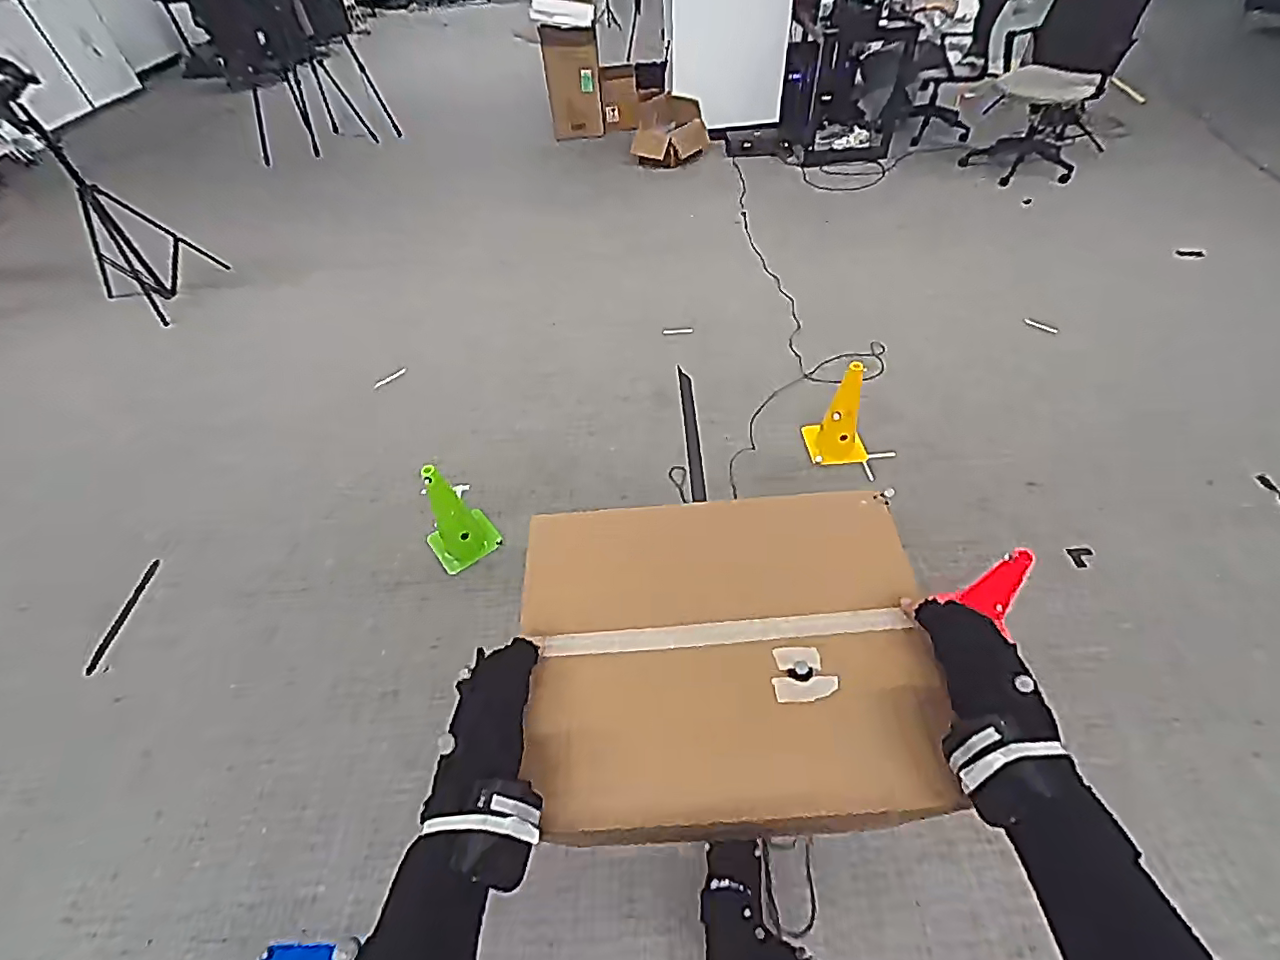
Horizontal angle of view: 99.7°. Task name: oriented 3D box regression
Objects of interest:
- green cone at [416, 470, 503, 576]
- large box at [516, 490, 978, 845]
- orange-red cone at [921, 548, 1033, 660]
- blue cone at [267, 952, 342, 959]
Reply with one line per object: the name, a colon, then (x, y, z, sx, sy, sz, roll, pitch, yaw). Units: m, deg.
green cone: (-0.599, 0.096, 1.677, 0.202, 0.368, 0.200, -35, 54, -21)
large box: (0.089, 0.240, 0.663, 0.408, 0.320, 0.320, -5, 54, 1)
orange-red cone: (0.896, 0.287, 1.376, 0.198, 0.360, 0.199, -5, 47, -1)
blue cone: (-0.708, 0.956, 0.950, 0.192, 0.380, 0.193, -3, 48, 4)
